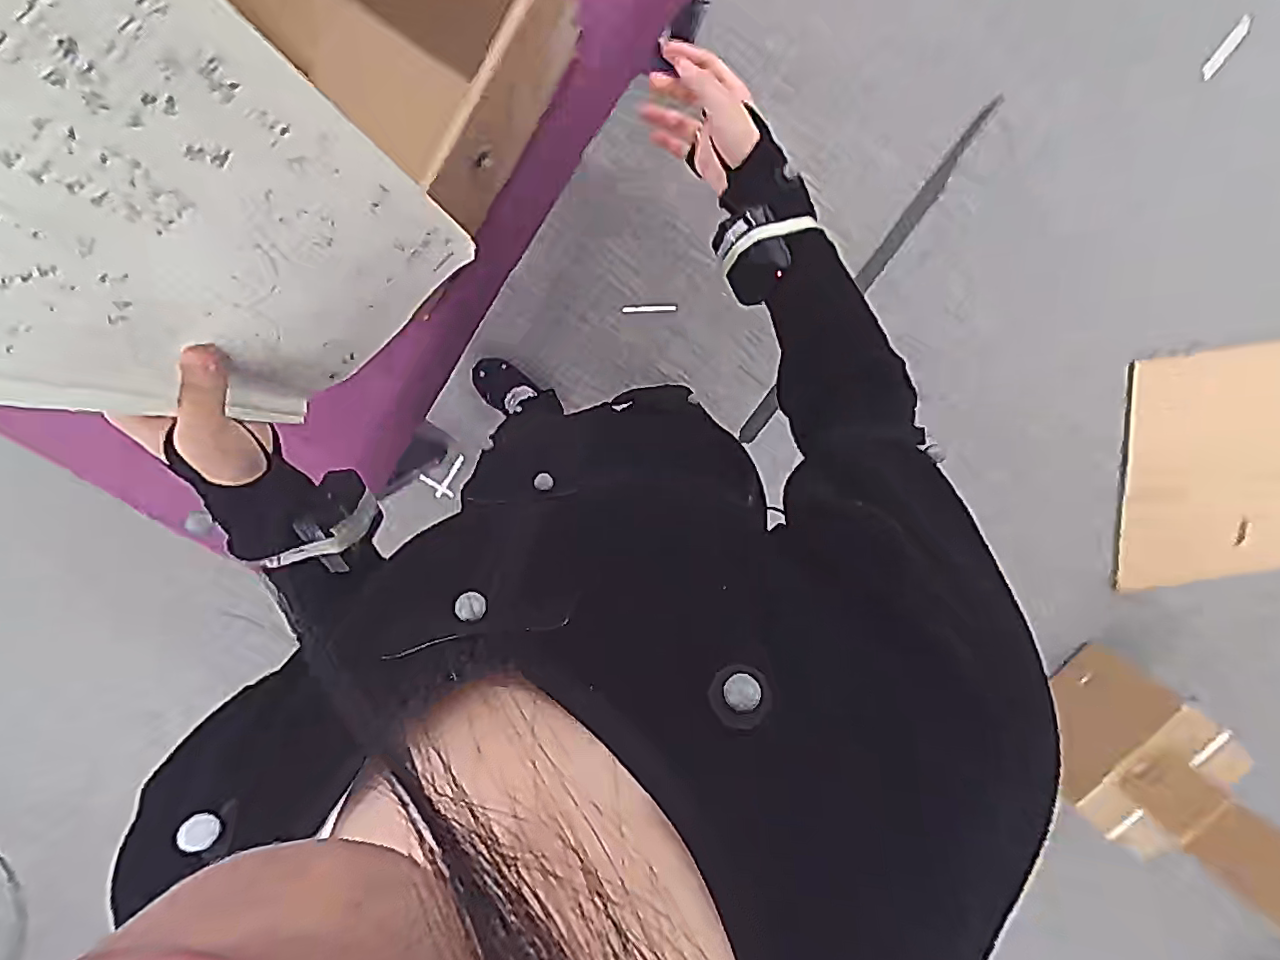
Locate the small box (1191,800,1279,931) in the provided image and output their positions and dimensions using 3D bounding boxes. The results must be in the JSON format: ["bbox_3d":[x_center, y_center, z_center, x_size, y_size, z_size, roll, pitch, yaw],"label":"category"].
[{"bbox_3d":[1.401,0.869,1.203,0.168,0.176,0.179,36,98,-11],"label":"small box"}]
